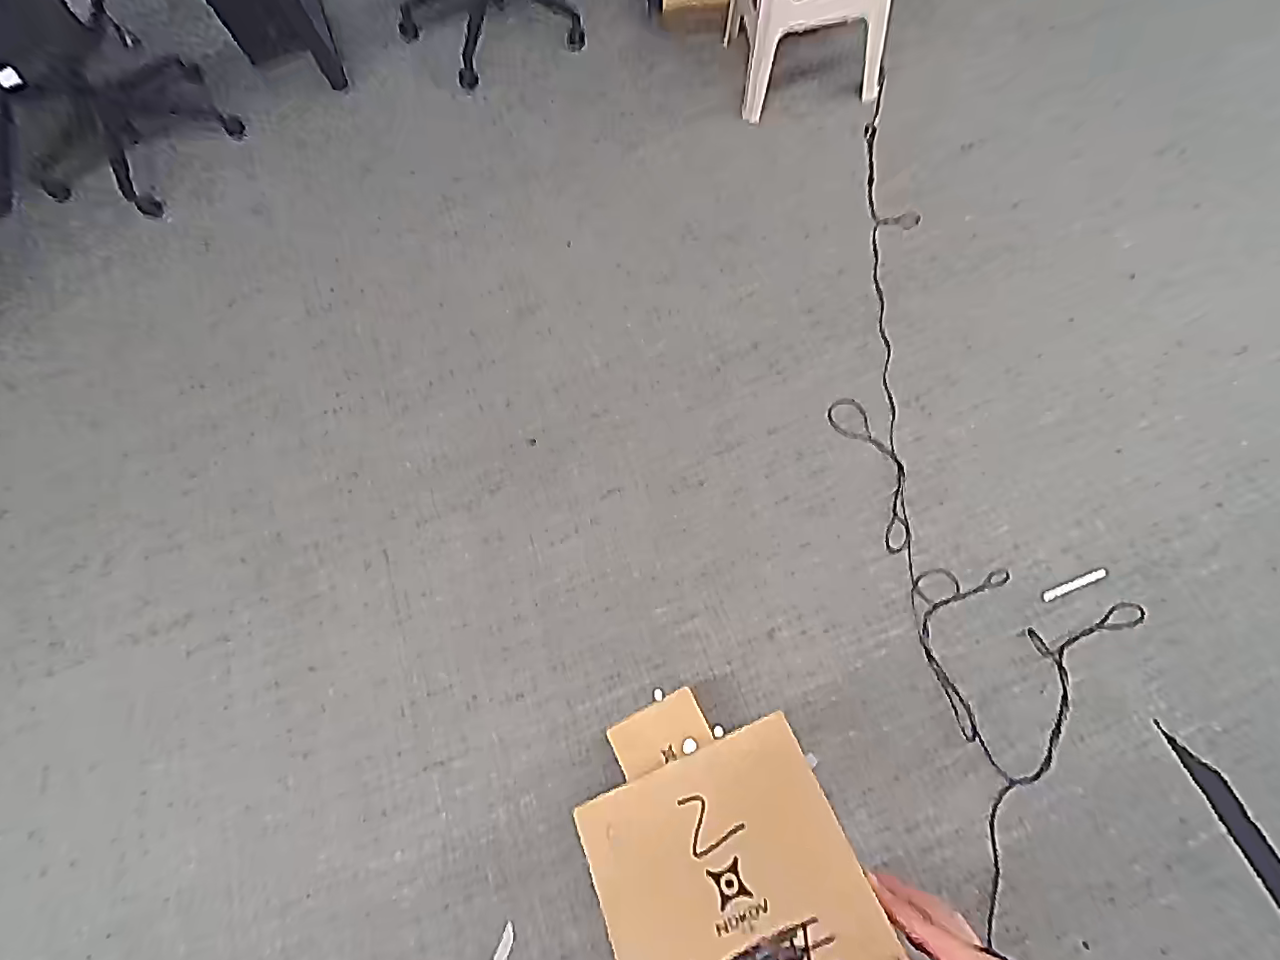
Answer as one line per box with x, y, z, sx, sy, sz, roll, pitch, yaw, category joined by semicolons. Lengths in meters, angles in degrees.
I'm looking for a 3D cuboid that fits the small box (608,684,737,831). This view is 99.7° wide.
0.058;0.492;0.986;0.168;0.176;0.179;-28;71;-4;small box
